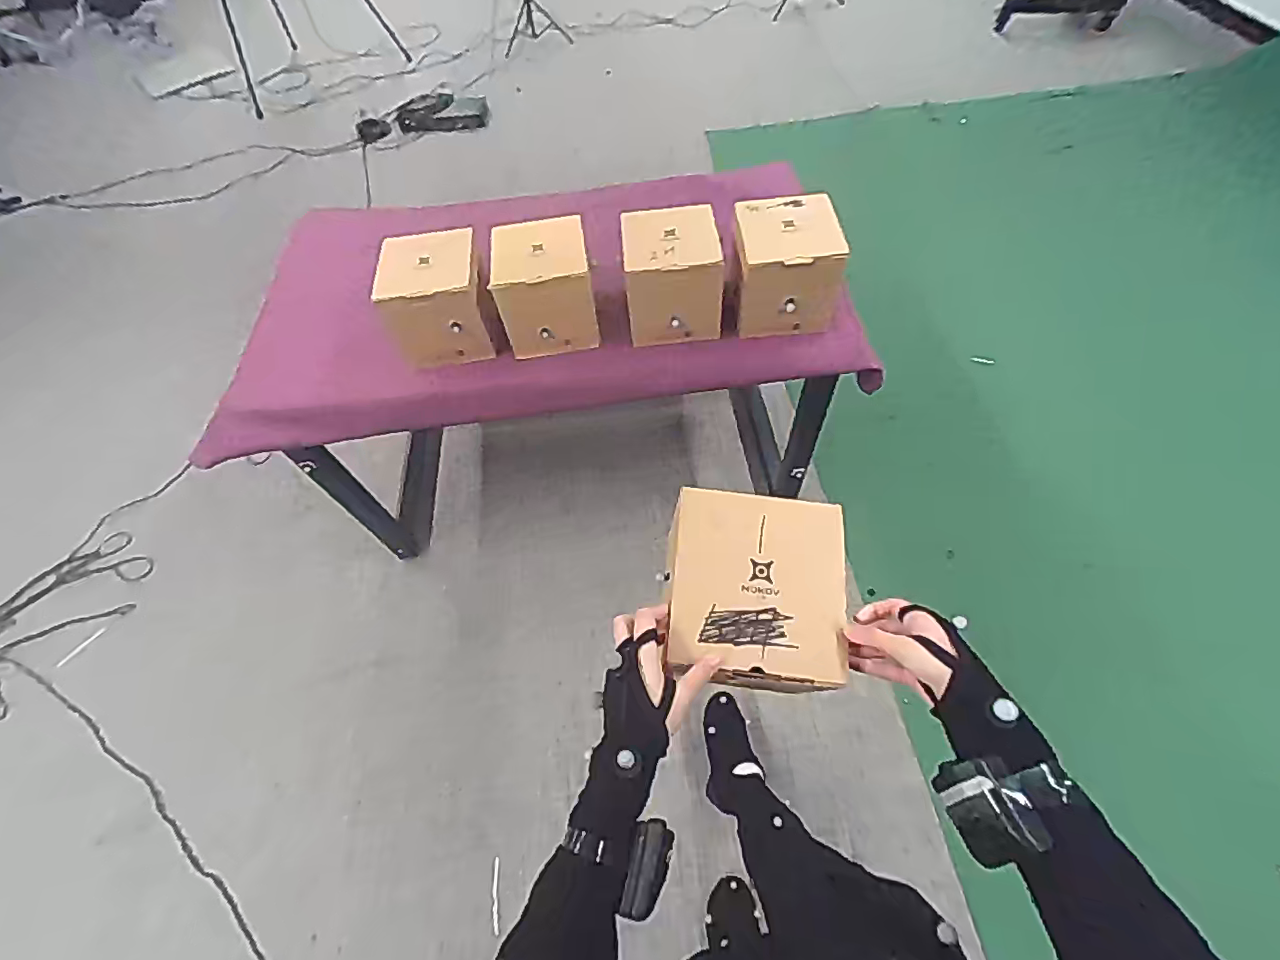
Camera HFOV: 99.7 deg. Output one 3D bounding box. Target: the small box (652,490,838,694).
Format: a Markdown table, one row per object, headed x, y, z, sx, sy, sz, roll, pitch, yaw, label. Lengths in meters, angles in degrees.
| x | y | z | sx | sy | sz | roll | pitch | yaw | label |
| --- | --- | --- | --- | --- | --- | --- | --- | --- | --- |
| 0.104 | 0.129 | 0.583 | 0.168 | 0.176 | 0.179 | 7 | 67 | 1 | small box |
